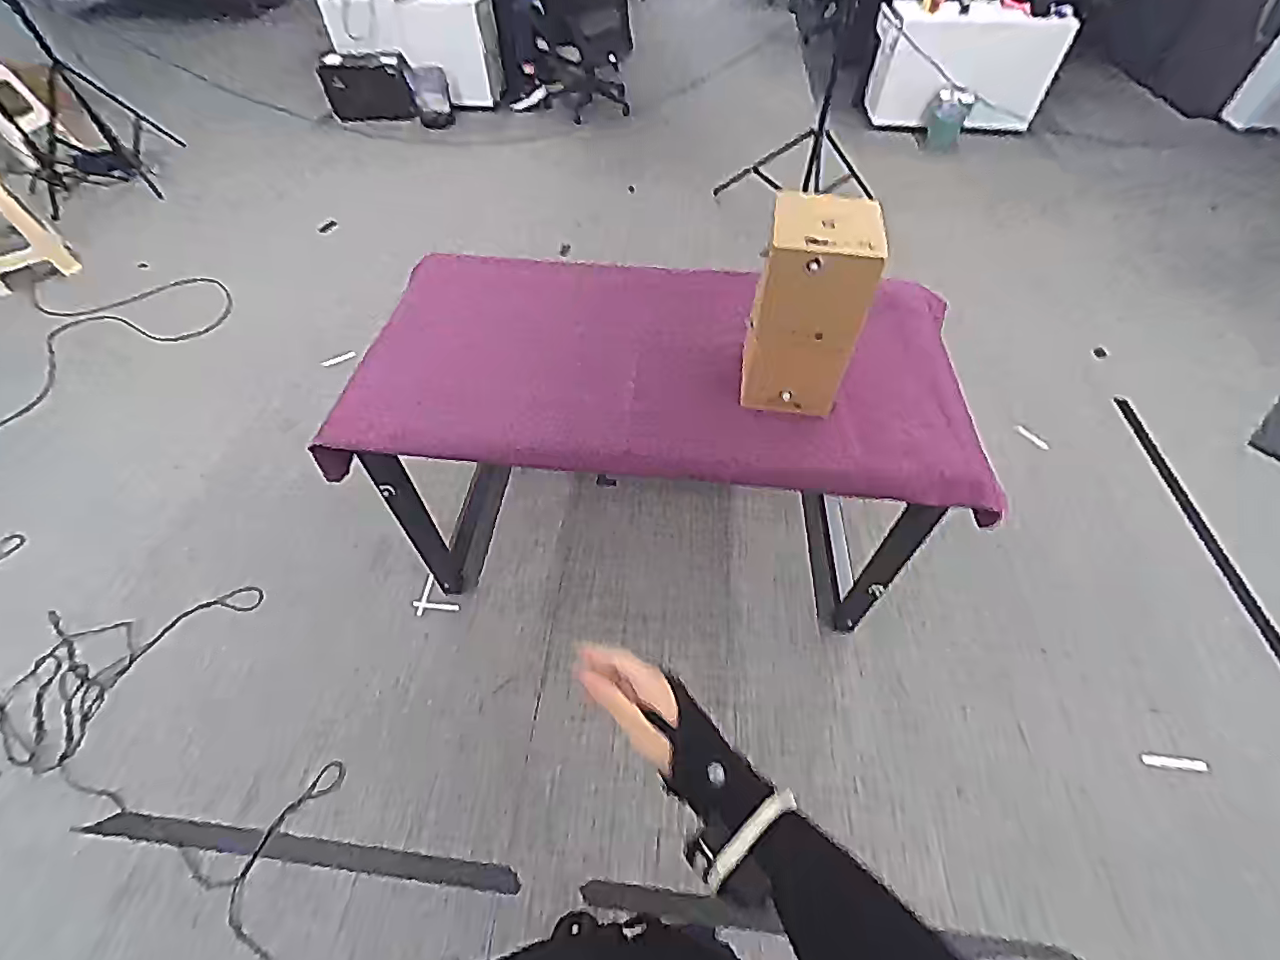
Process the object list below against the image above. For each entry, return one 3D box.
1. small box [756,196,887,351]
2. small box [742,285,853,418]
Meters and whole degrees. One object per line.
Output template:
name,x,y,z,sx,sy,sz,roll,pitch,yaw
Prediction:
small box,0.289,-0.340,0.892,0.168,0.176,0.179,8,52,7
small box,0.289,-0.243,1.025,0.168,0.176,0.179,7,53,6
